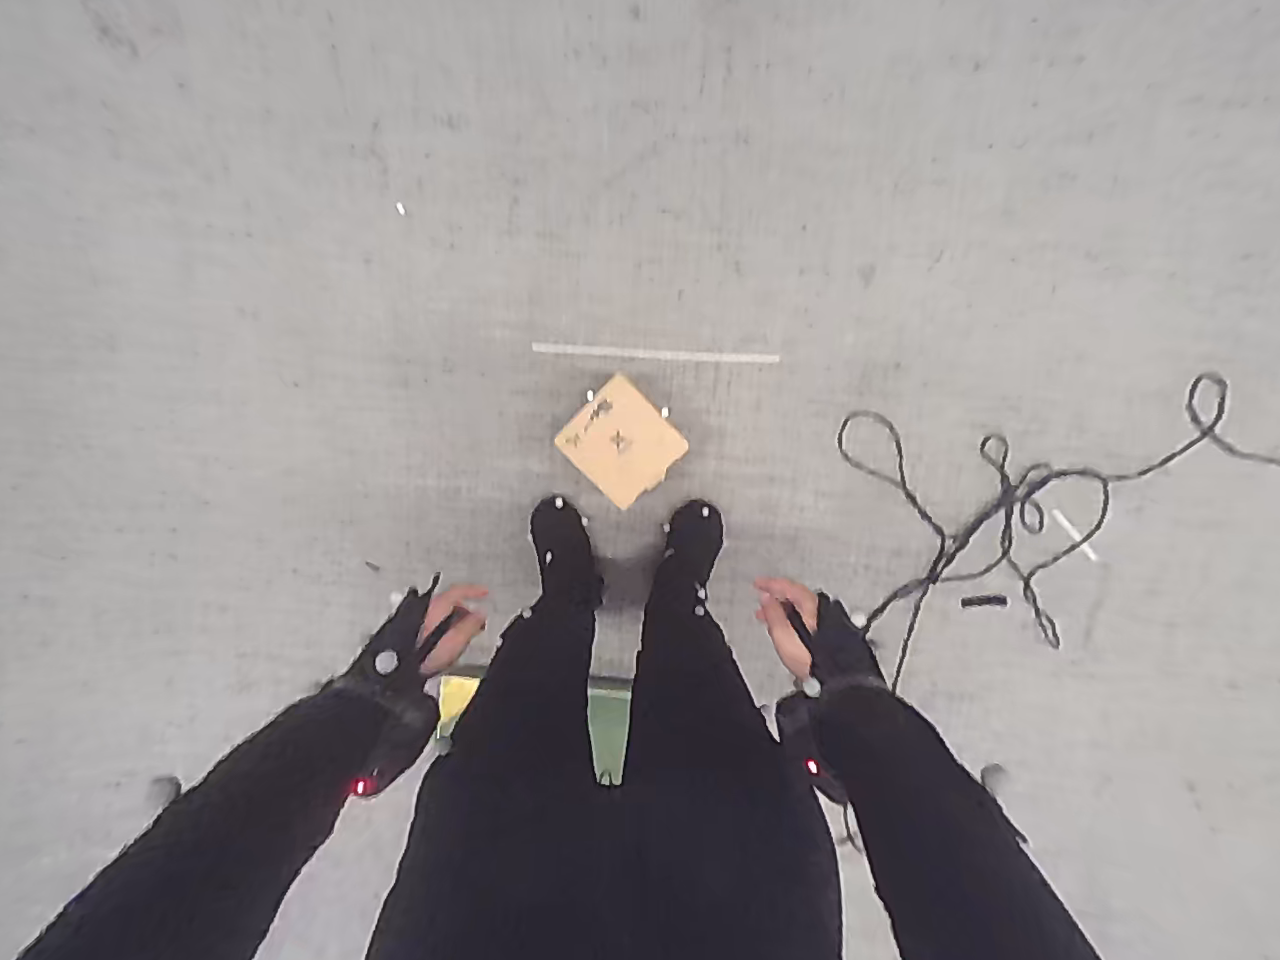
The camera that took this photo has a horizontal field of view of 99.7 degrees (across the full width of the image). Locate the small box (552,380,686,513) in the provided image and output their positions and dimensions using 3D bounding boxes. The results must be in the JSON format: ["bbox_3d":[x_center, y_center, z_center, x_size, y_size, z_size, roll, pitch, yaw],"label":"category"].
[{"bbox_3d":[-0.033,-0.070,1.002,0.168,0.176,0.179,-44,96,7],"label":"small box"}]
